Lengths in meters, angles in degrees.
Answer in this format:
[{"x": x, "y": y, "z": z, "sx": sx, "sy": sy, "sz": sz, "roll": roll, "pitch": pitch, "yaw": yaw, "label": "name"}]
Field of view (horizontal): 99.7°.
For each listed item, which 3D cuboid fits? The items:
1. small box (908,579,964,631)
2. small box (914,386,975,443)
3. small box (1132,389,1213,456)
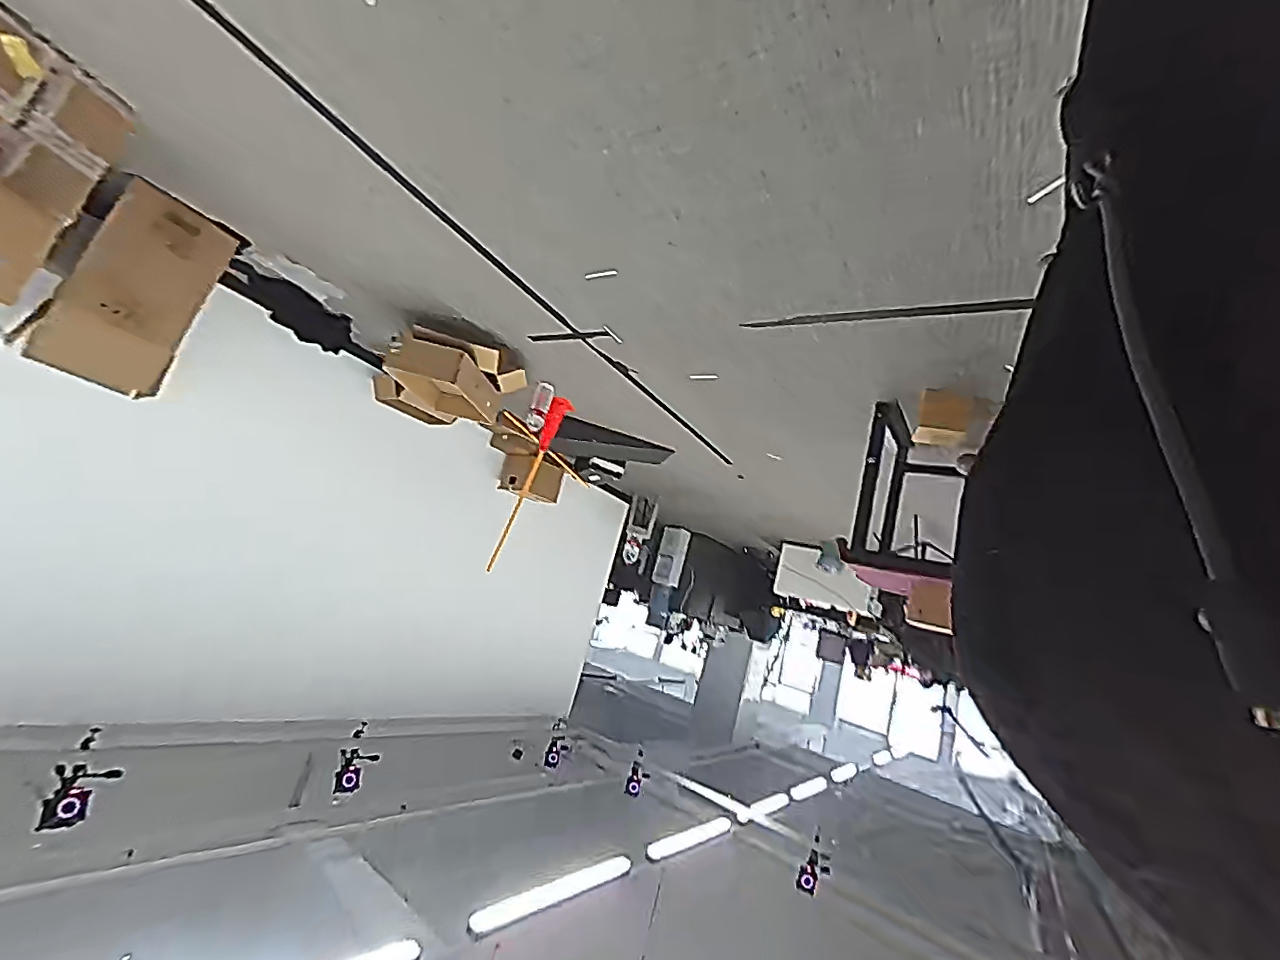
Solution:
[{"x": 1.212, "y": 0.507, "z": 2.210, "sx": 0.179, "sy": 0.176, "sz": 0.168, "roll": 7, "pitch": 166, "yaw": 34, "label": "small box"}, {"x": 1.232, "y": -0.267, "z": 2.192, "sx": 0.179, "sy": 0.176, "sz": 0.168, "roll": 10, "pitch": 166, "yaw": 19, "label": "small box"}, {"x": 1.788, "y": -0.194, "z": 1.818, "sx": 0.168, "sy": 0.176, "sz": 0.179, "roll": 7, "pitch": 166, "yaw": 35, "label": "small box"}]
